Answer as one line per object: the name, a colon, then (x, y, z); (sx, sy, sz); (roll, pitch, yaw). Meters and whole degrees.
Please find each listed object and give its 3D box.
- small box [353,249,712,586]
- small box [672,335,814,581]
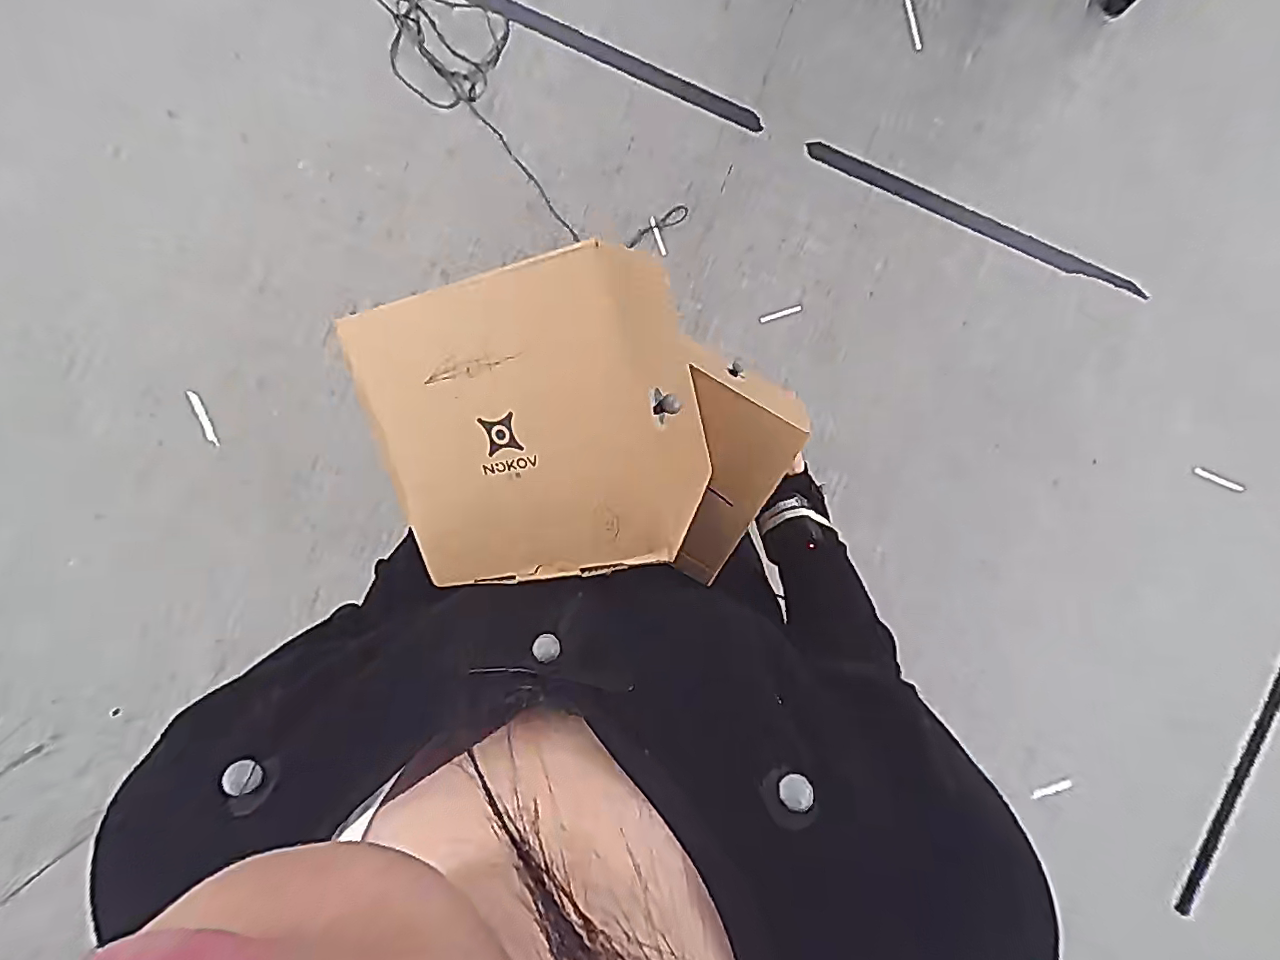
small box: (-0.051, -0.048, 0.384); (0.168, 0.176, 0.179); (-10, 105, 17)
small box: (0.048, -0.038, 0.540); (0.179, 0.176, 0.168); (32, 112, 3)
